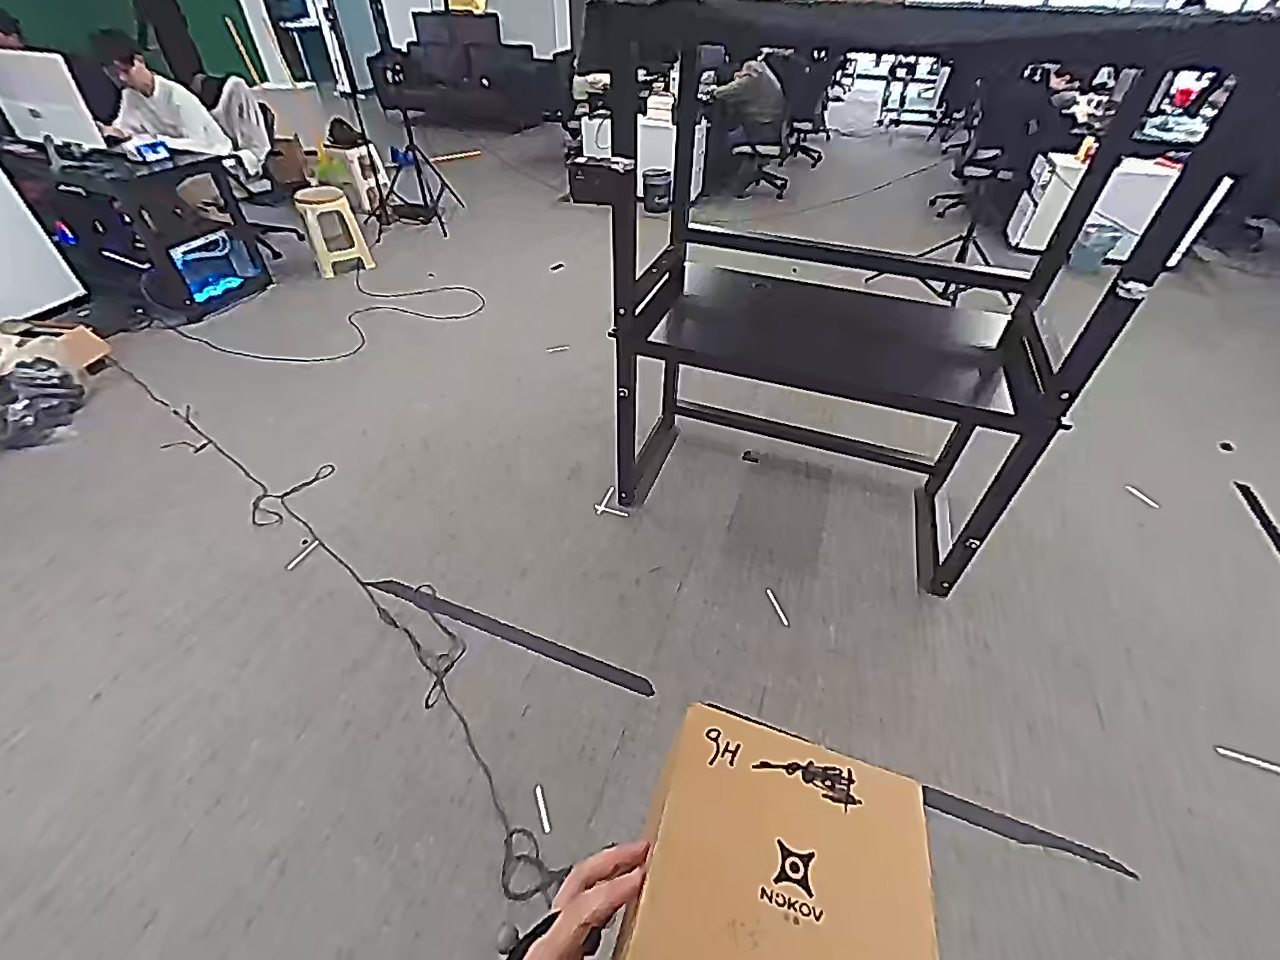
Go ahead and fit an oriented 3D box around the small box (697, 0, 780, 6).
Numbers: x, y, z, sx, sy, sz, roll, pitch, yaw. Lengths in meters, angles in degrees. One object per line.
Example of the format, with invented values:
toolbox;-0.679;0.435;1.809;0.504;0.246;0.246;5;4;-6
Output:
small box;0.198;-1.039;1.052;0.168;0.176;0.179;15;42;13

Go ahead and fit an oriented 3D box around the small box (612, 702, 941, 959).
small box;0.080;0.293;0.368;0.168;0.176;0.179;17;44;8

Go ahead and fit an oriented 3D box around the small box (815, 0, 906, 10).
small box;0.434;-0.994;1.009;0.168;0.176;0.179;16;42;16
